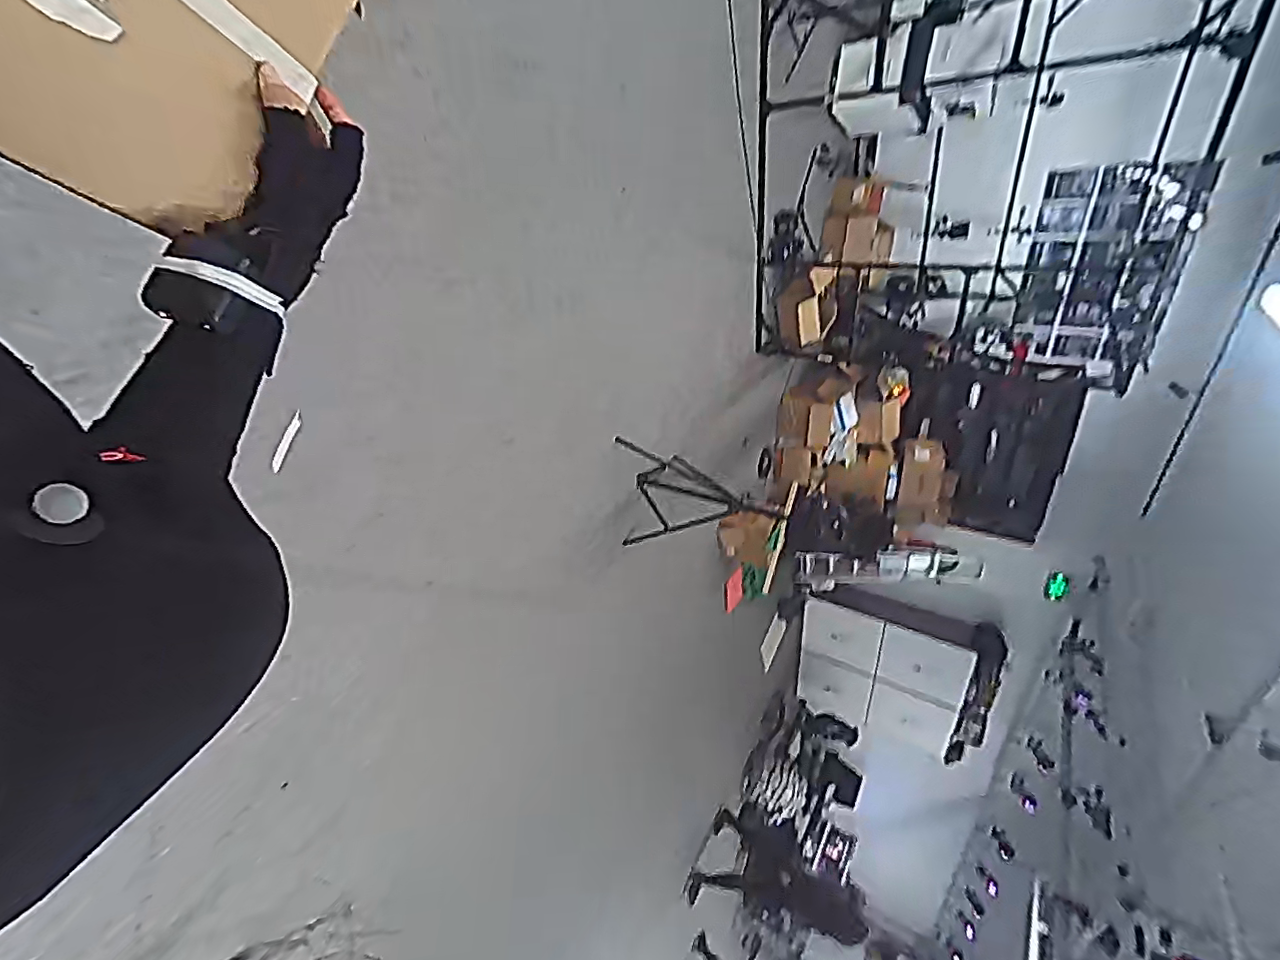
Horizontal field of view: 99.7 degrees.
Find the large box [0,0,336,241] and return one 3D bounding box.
[{"bbox_3d":[-0.489,-0.428,0.348,0.320,0.320,0.408,-63,151,2],"label":"large box"}]
